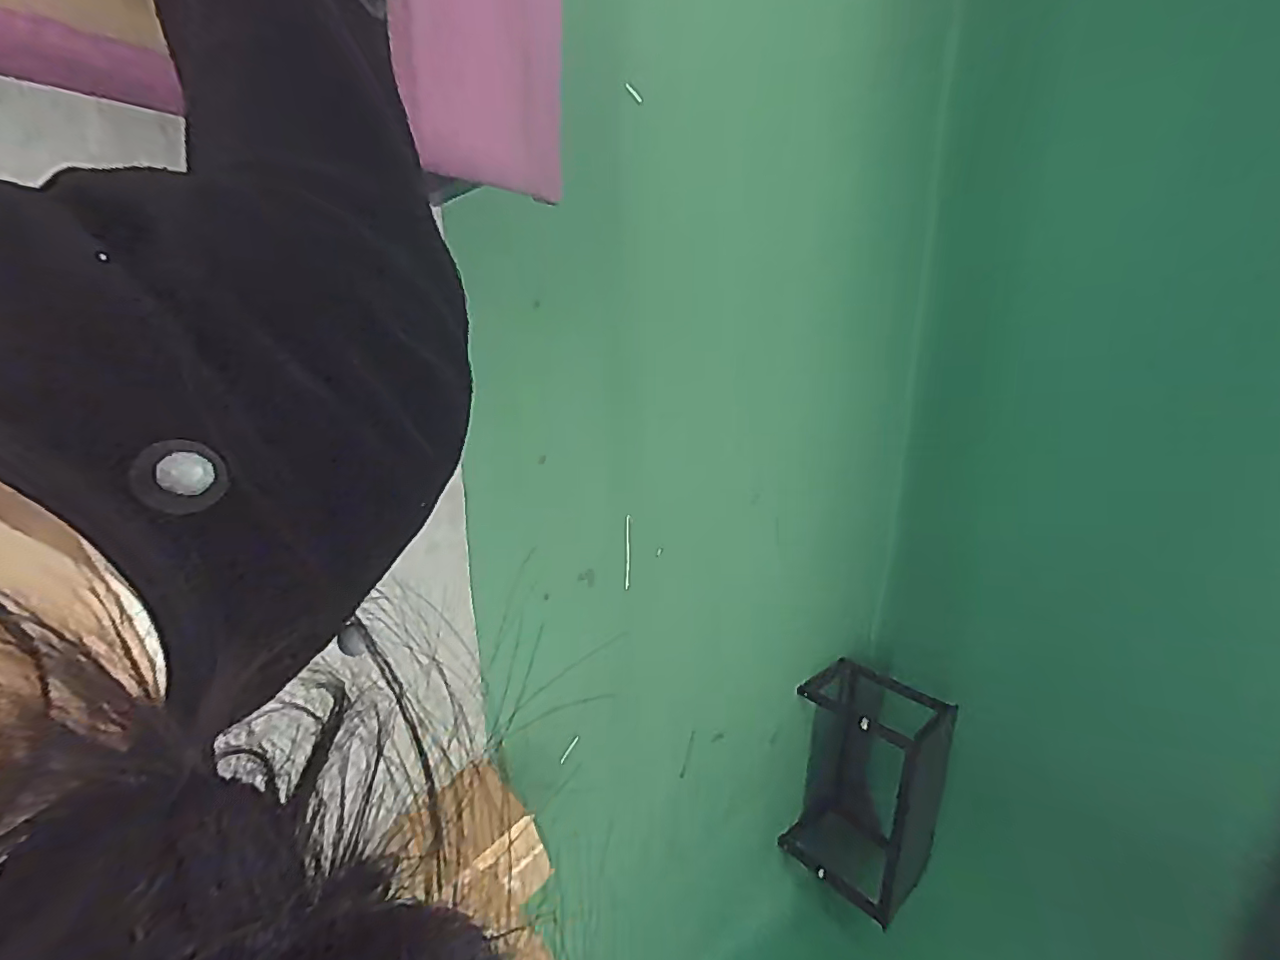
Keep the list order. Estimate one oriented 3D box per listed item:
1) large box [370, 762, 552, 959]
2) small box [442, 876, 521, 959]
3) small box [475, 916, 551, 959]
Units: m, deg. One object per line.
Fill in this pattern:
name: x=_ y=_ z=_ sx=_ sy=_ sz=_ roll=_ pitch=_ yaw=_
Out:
large box: x=-0.557 y=1.212 z=1.712 sx=0.408 sy=0.320 sz=0.320 roll=-30 pitch=120 yaw=-36
small box: x=-0.427 y=1.261 z=1.507 sx=0.168 sy=0.176 sz=0.179 roll=-28 pitch=118 yaw=-35
small box: x=-0.319 y=1.294 z=1.388 sx=0.179 sy=0.176 sz=0.168 roll=-30 pitch=119 yaw=-35
